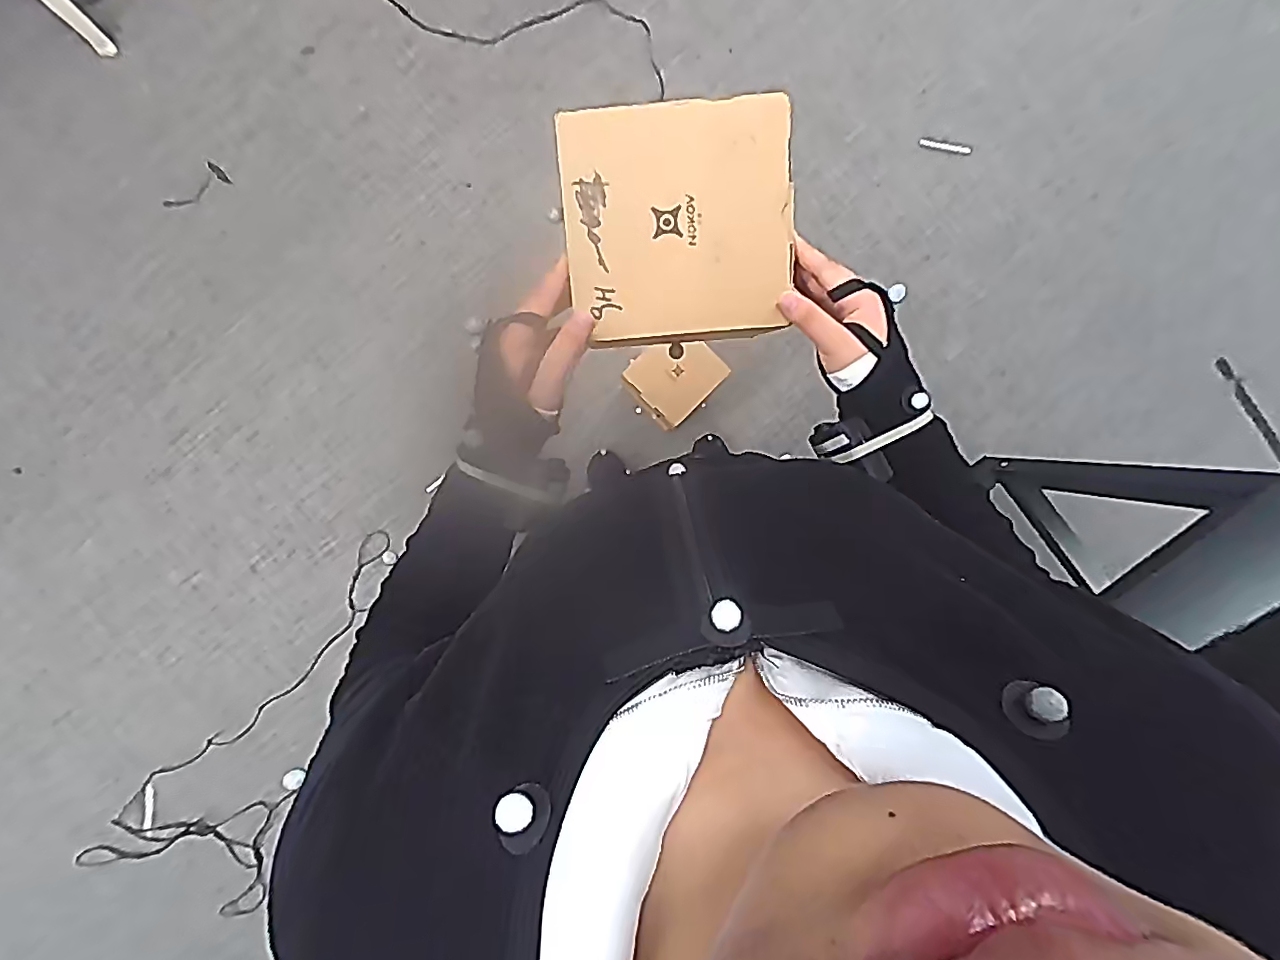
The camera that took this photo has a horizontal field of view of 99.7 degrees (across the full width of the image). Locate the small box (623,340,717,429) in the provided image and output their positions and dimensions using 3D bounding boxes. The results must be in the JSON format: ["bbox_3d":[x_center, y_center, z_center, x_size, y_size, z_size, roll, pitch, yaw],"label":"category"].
[{"bbox_3d":[0.072,-0.250,1.405,0.179,0.176,0.168,-42,93,3],"label":"small box"}]

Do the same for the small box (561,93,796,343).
[{"bbox_3d":[0.031,-0.218,0.494,0.179,0.176,0.168,-5,102,1],"label":"small box"}]
